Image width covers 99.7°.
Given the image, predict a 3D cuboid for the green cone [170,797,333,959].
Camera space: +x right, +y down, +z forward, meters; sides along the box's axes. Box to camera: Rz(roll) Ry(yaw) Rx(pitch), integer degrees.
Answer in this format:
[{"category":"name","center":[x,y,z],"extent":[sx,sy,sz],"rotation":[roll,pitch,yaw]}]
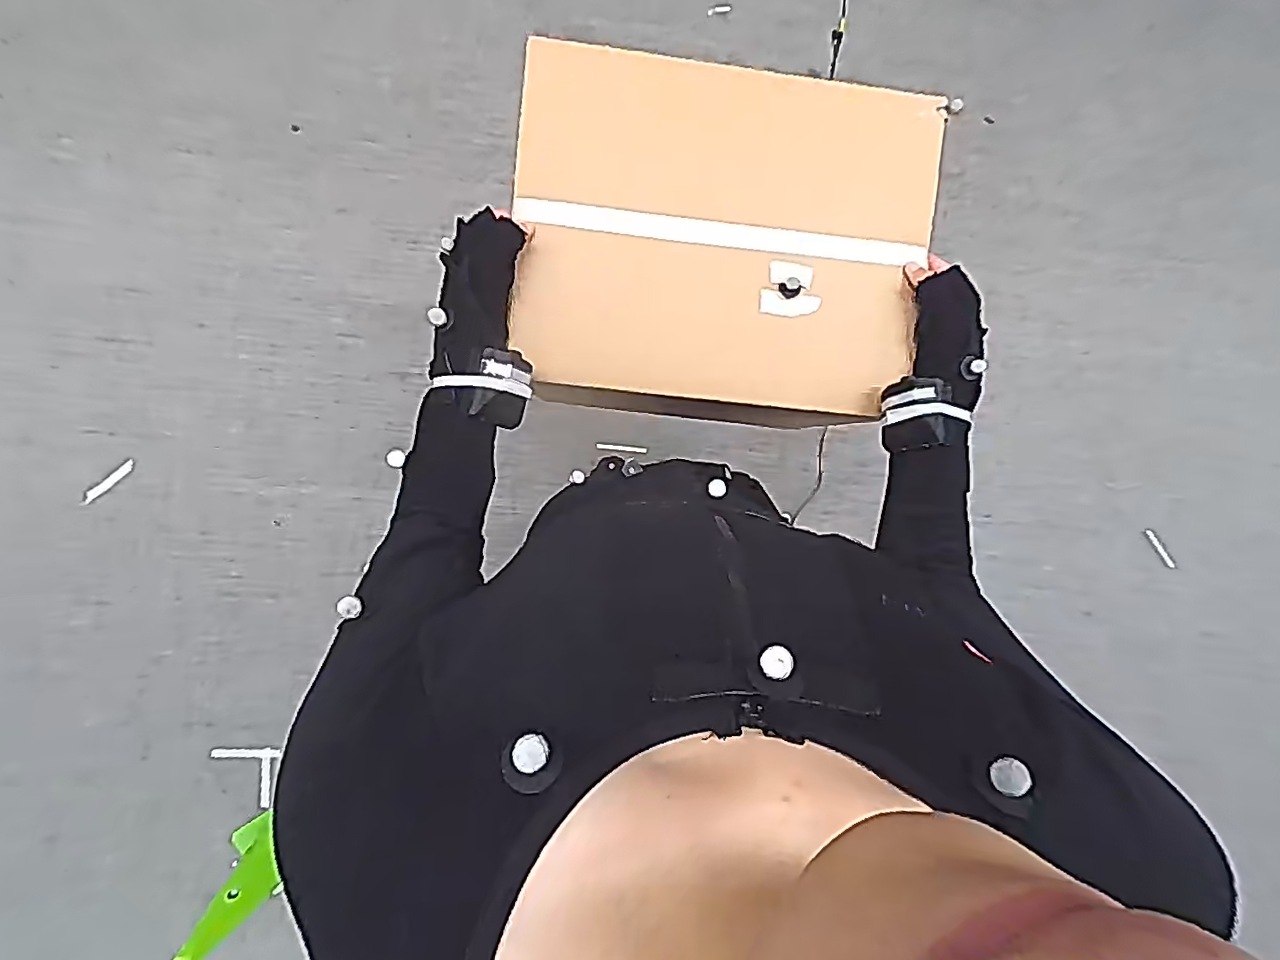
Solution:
[{"category":"green cone","center":[-0.933,0.966,1.258],"extent":[0.202,0.368,0.200],"rotation":[-33,92,-1]}]

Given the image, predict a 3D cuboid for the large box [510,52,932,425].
[{"category":"large box","center":[0.070,-0.244,0.677],"extent":[0.408,0.320,0.320],"rotation":[5,94,-5]}]
